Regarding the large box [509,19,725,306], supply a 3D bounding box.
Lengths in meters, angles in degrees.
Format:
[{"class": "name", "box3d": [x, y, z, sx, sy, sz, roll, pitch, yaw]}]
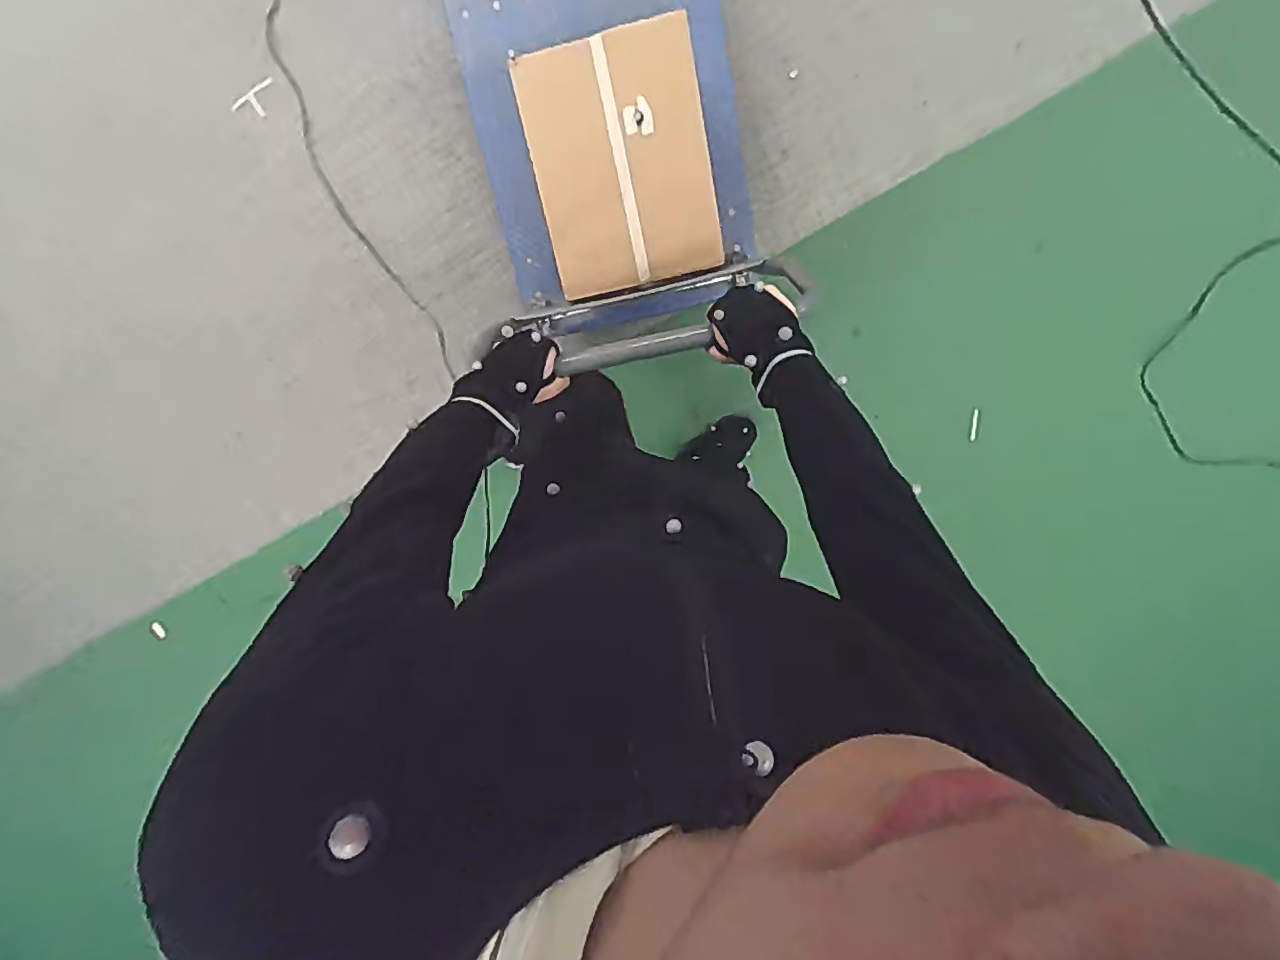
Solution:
[{"class": "large box", "box3d": [-0.026, -0.600, 1.115, 0.320, 0.320, 0.408, -12, 107, 5]}]
